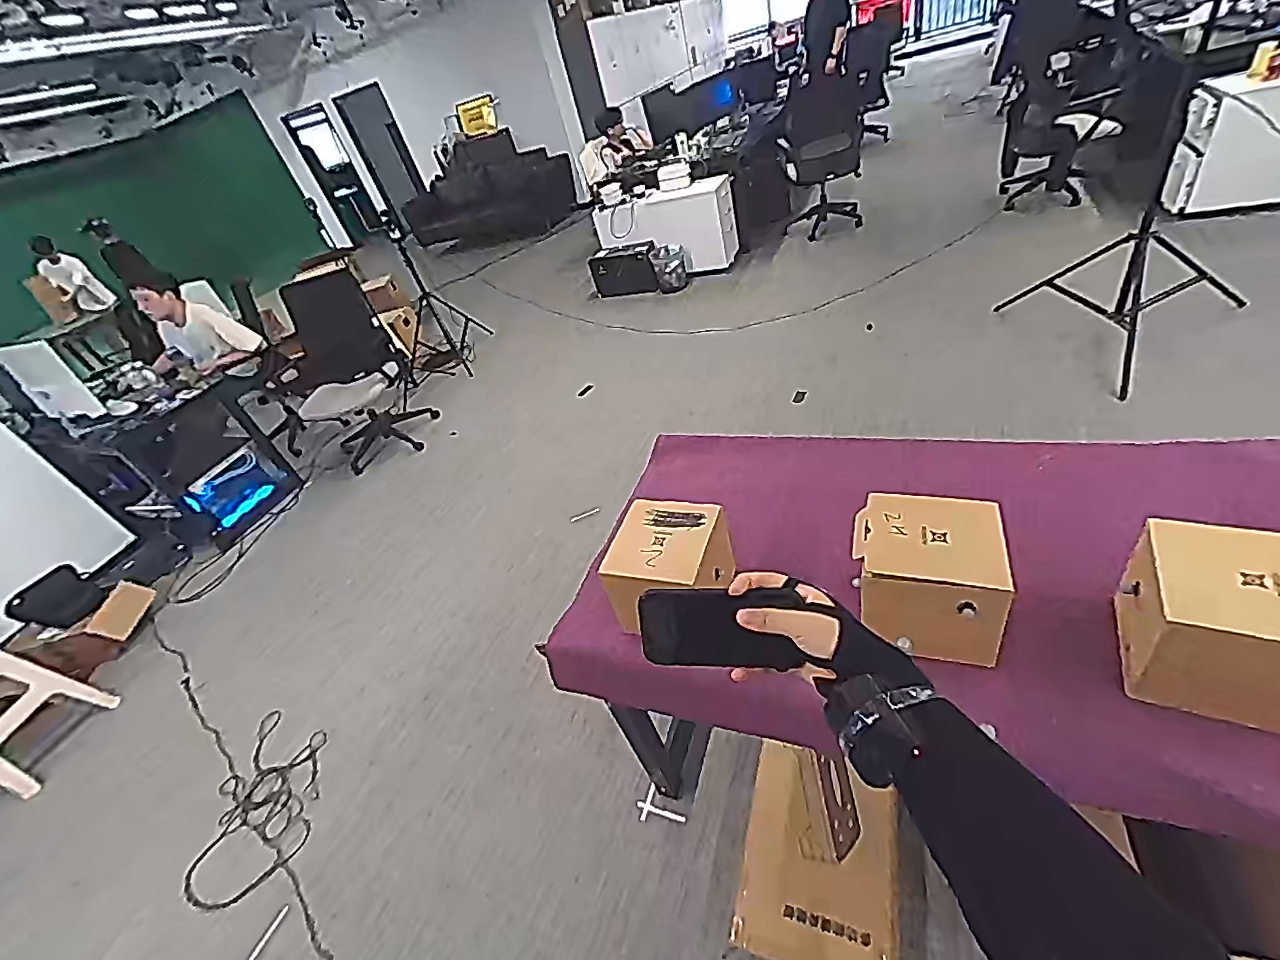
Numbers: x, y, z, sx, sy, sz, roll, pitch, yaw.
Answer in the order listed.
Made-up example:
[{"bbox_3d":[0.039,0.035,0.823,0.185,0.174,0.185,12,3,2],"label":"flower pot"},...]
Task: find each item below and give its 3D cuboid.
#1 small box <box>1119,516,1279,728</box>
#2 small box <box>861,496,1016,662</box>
[{"bbox_3d":[0.705,0.167,0.645,0.179,0.176,0.168,7,44,30],"label":"small box"},{"bbox_3d":[0.424,0.143,0.793,0.179,0.176,0.168,1,39,25],"label":"small box"}]
